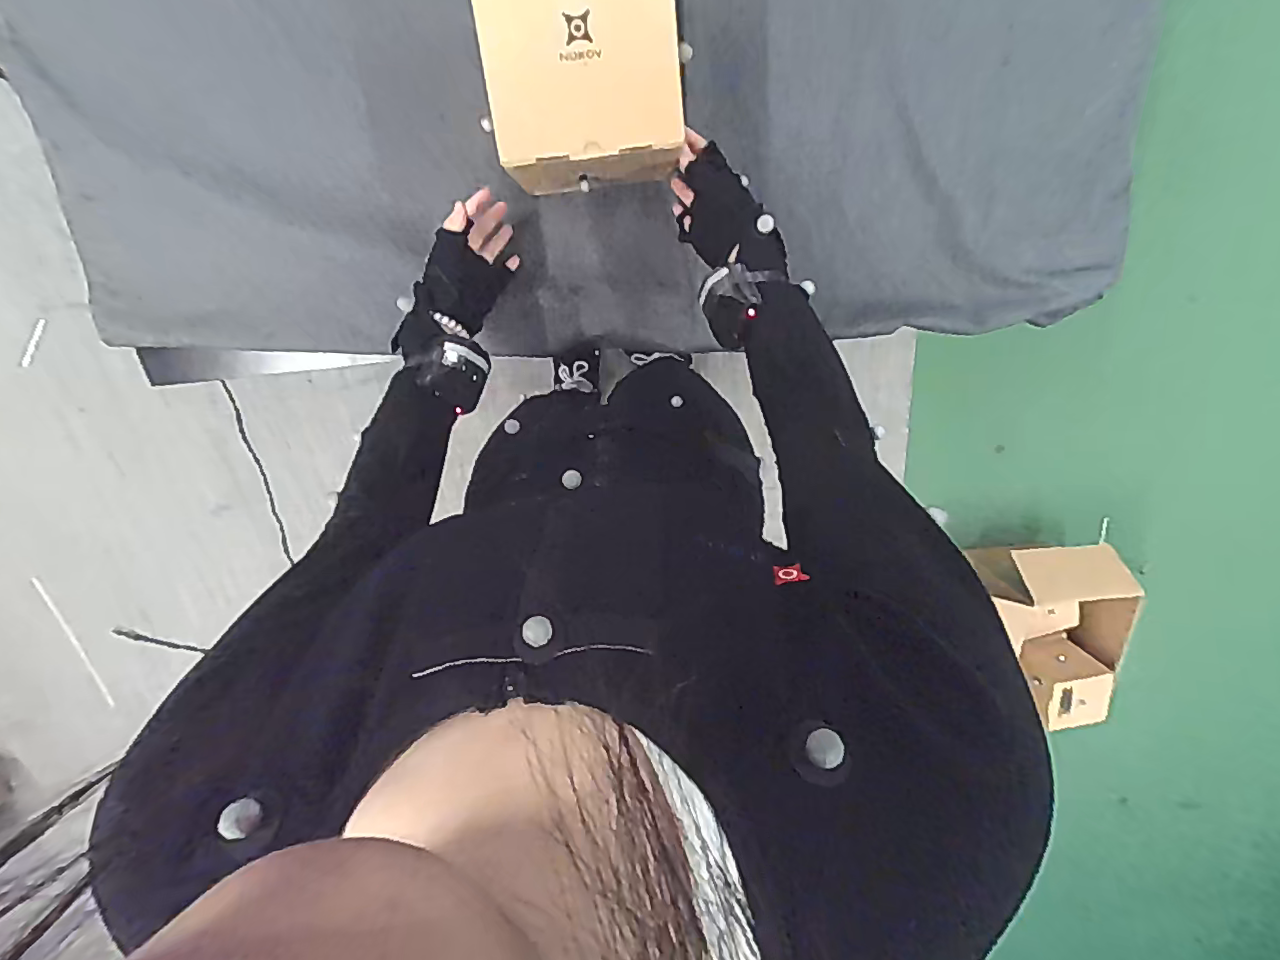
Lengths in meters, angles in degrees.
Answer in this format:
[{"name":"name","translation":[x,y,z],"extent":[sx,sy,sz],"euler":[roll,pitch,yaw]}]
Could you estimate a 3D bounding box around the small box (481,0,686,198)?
[{"name":"small box","translation":[-0.053,-0.395,0.537],"extent":[0.168,0.176,0.179],"euler":[-7,112,-1]}]
